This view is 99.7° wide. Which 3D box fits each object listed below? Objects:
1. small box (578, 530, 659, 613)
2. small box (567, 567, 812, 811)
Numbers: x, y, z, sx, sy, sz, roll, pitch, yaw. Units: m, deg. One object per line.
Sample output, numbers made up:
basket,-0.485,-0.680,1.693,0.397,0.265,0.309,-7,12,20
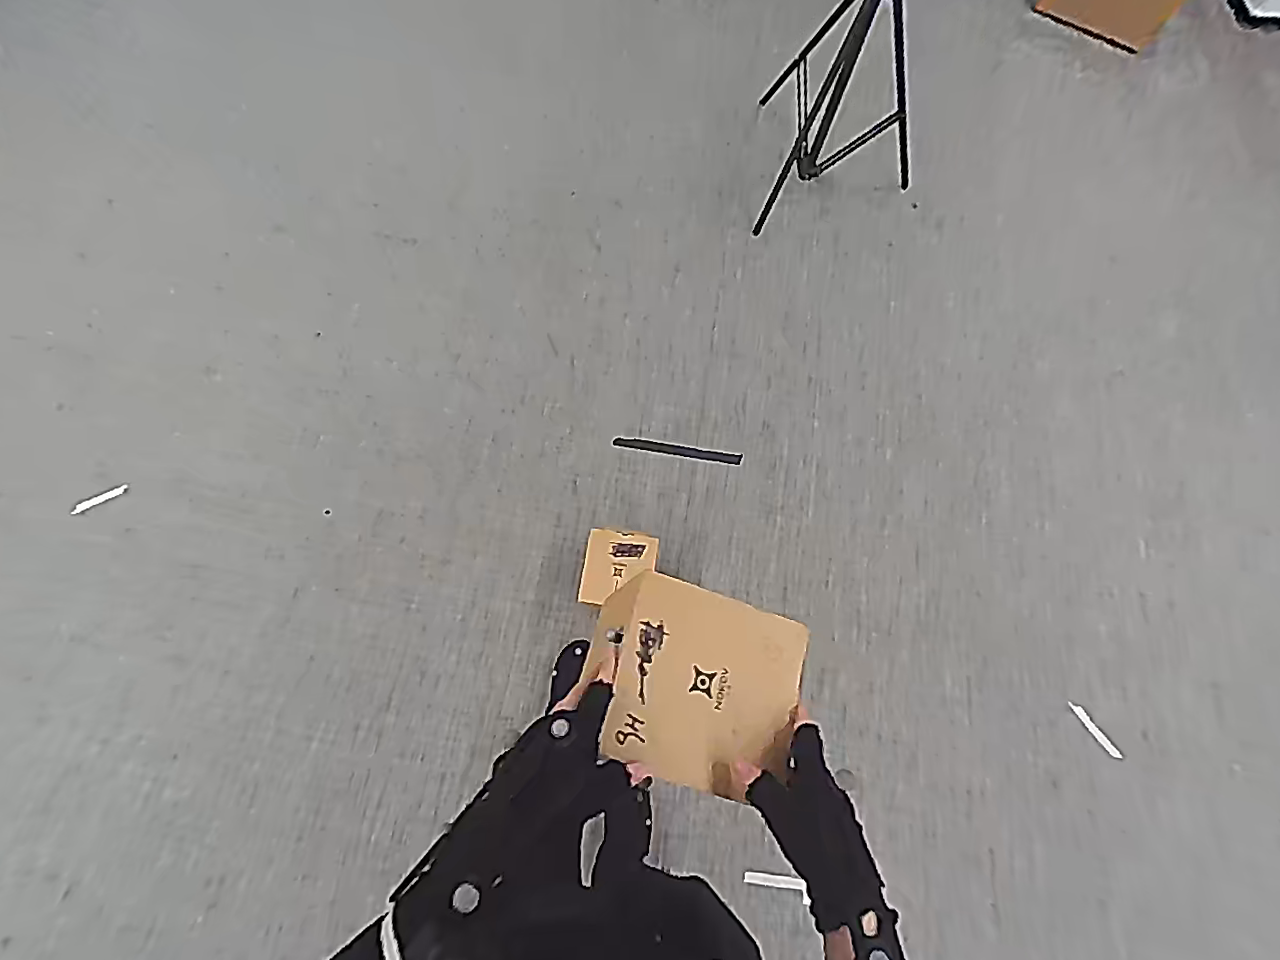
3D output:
small box,-0.052,0.237,1.326,0.168,0.176,0.179,9,72,1
small box,0.043,0.207,0.549,0.179,0.176,0.168,22,64,-8
